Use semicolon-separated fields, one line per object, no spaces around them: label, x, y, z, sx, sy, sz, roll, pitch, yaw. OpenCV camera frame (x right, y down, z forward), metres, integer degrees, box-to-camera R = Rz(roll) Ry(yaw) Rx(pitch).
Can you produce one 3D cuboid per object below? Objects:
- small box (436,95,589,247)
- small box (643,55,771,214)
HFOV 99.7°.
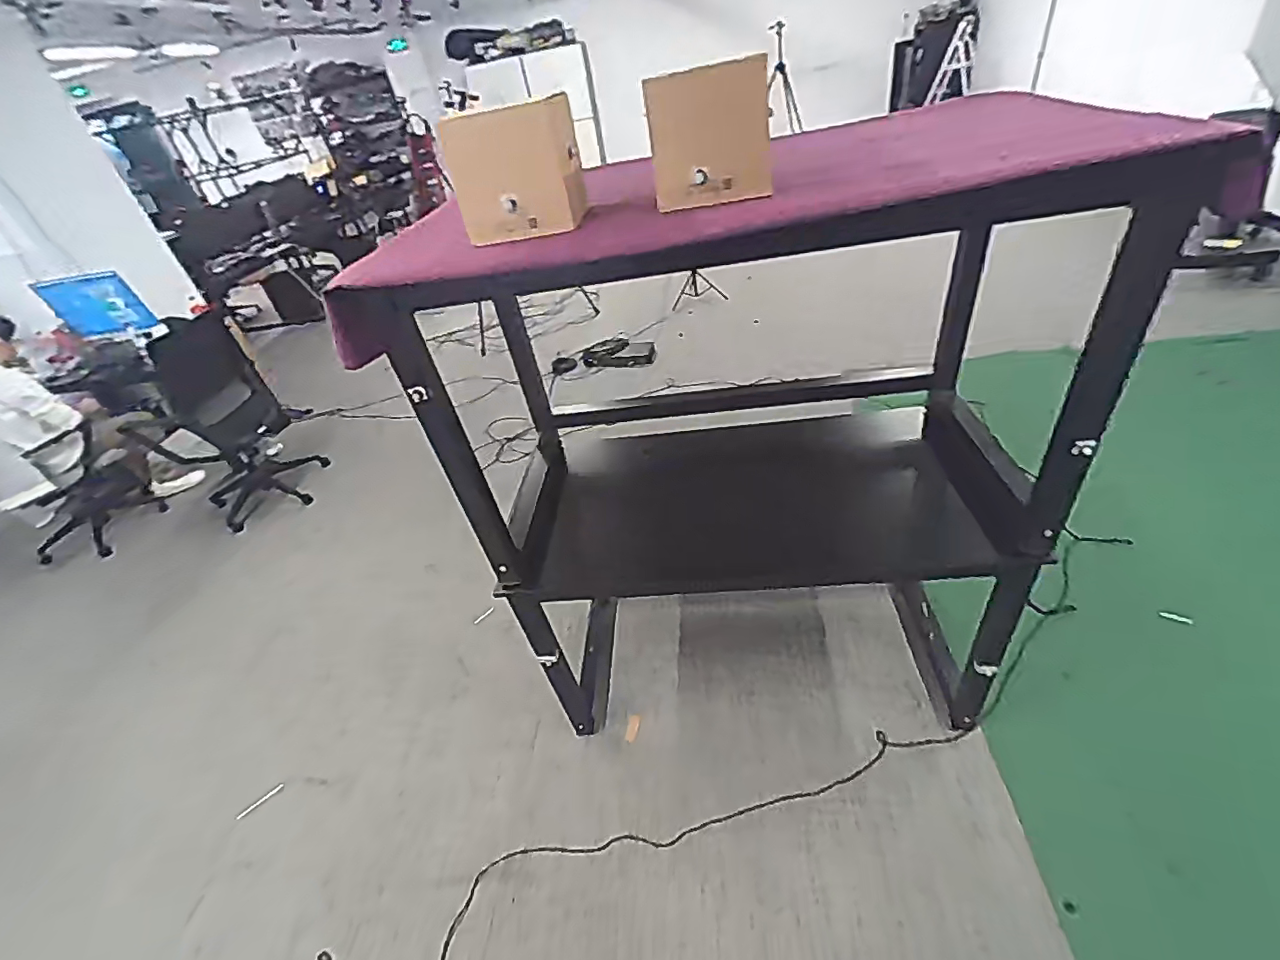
small box;-0.181;-0.476;0.836;0.168;0.176;0.179;-5;38;9
small box;0.106;-0.511;0.806;0.168;0.176;0.179;-4;38;12
